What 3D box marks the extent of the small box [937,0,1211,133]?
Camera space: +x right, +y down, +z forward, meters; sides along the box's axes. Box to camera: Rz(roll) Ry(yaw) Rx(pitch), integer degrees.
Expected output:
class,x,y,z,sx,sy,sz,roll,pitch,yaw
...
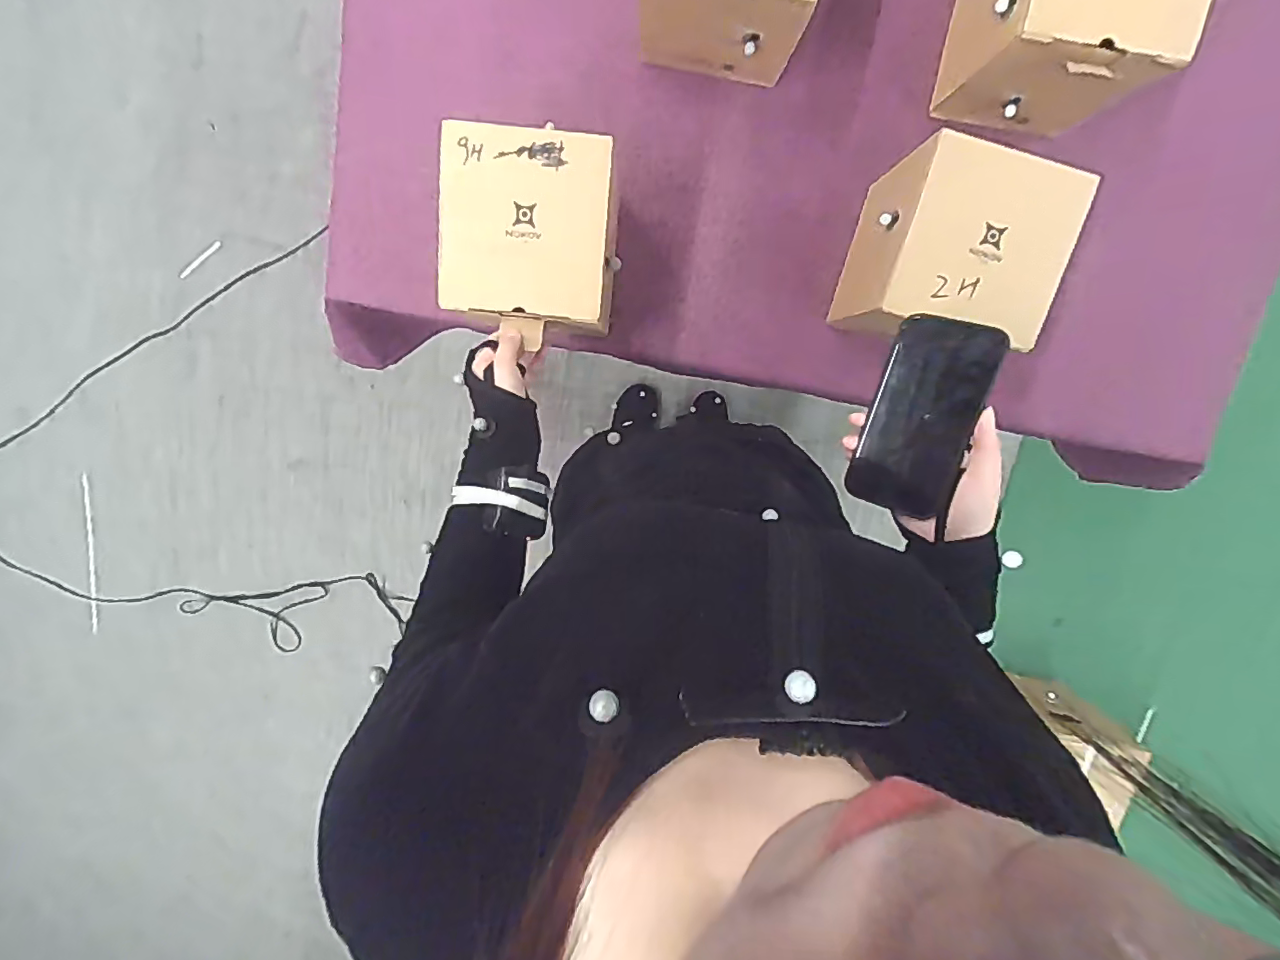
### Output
class,x,y,z,sx,sy,sz,roll,pitch,yaw
small box,0.442,-0.499,0.559,0.168,0.176,0.179,8,102,-1

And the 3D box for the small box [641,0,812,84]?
class,x,y,z,sx,sy,sz,roll,pitch,yaw
small box,0.096,-0.549,0.551,0.168,0.176,0.179,10,102,-3

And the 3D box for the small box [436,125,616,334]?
class,x,y,z,sx,sy,sz,roll,pitch,yaw
small box,-0.117,-0.263,0.610,0.168,0.176,0.179,5,101,-1

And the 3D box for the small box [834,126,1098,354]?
class,x,y,z,sx,sy,sz,roll,pitch,yaw
small box,0.343,-0.250,0.610,0.168,0.176,0.179,15,102,-2
